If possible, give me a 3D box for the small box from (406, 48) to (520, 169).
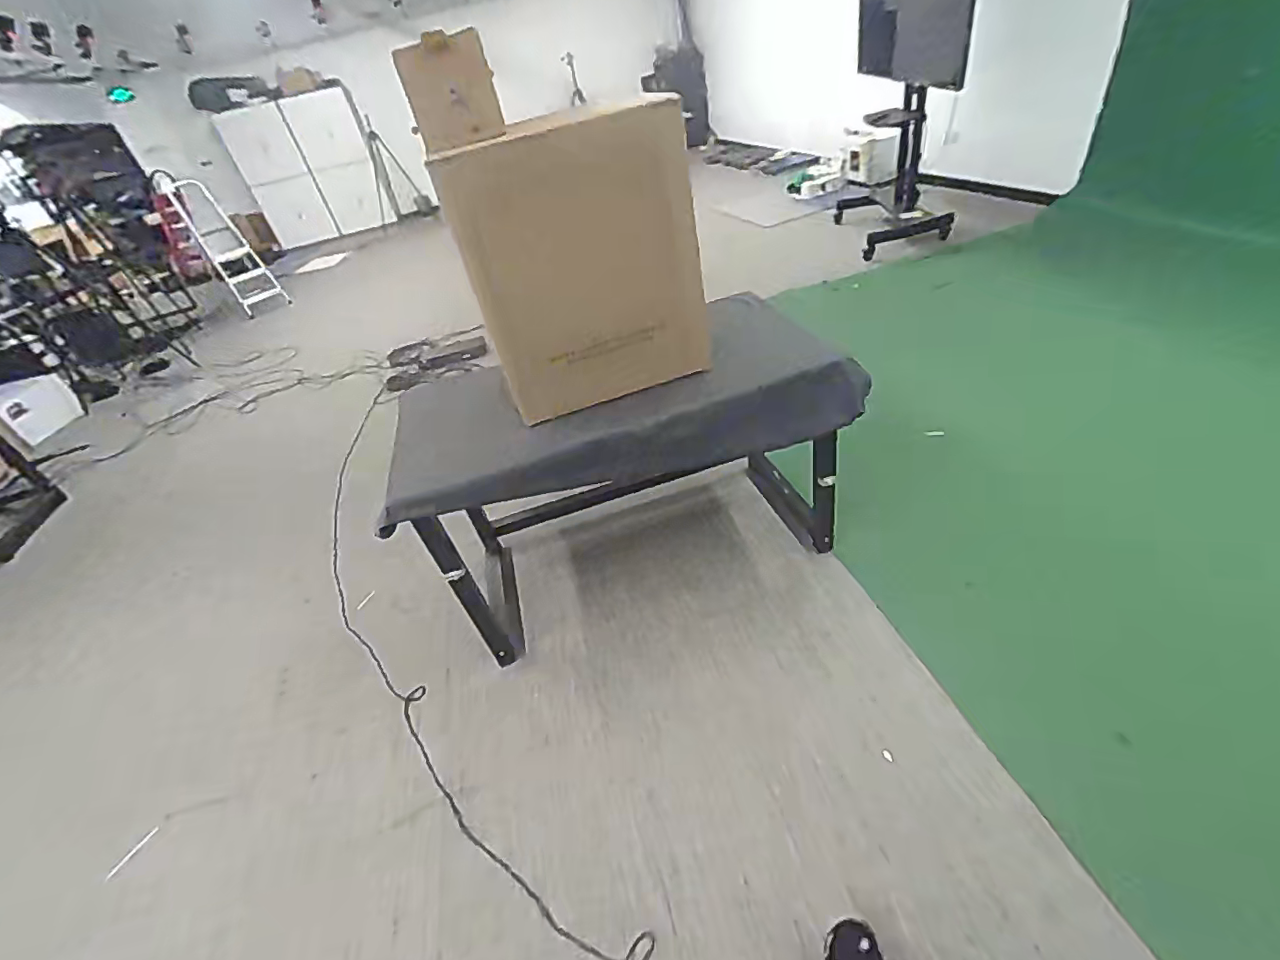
[{"bbox_3d":[-0.360,-0.756,1.107,0.168,0.176,0.179,-22,40,-8],"label":"small box"}]
